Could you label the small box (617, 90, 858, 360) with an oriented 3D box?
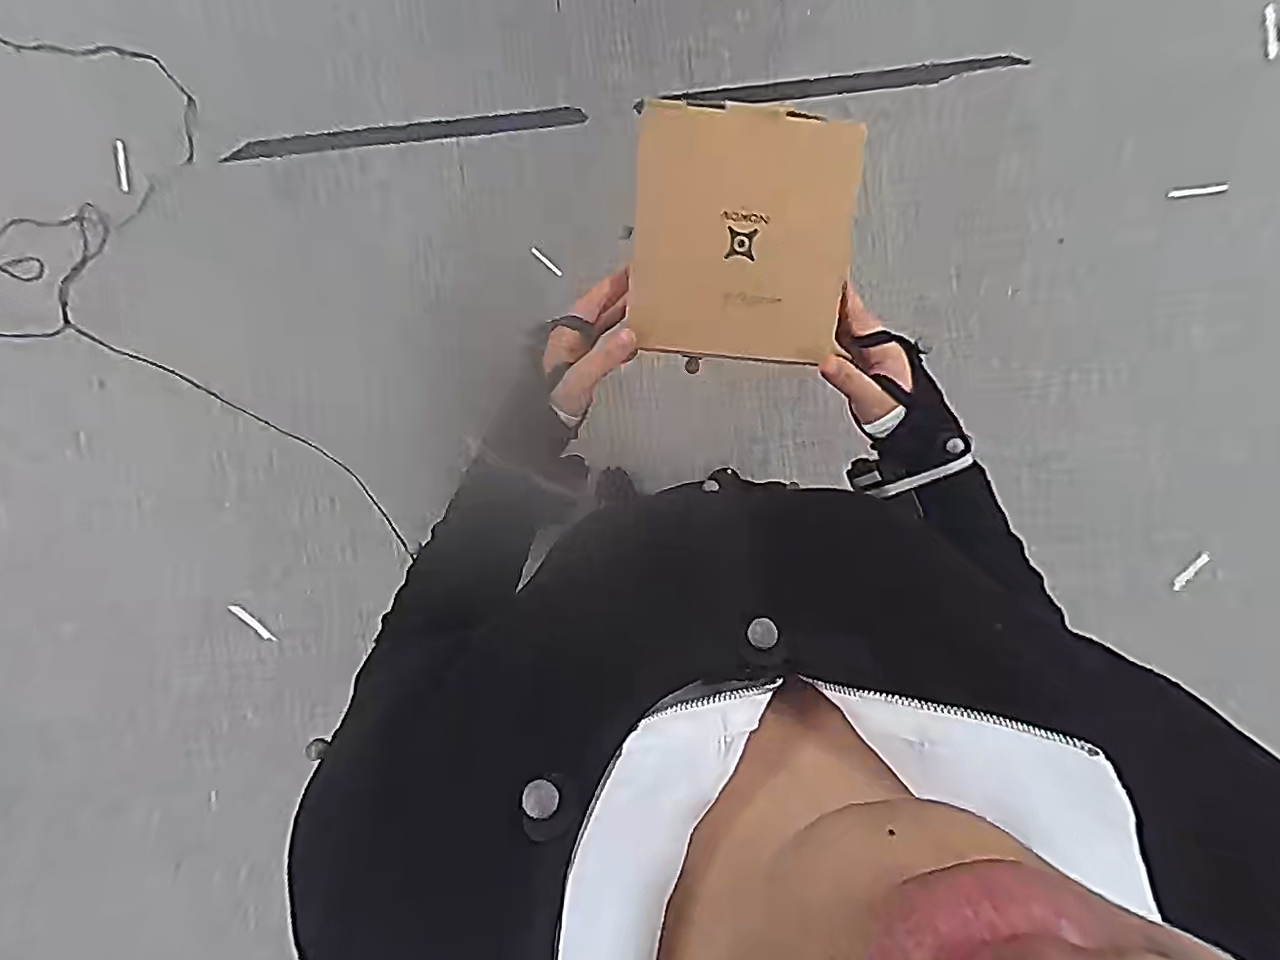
[{"bbox_3d":[0.068,-0.204,0.483,0.168,0.176,0.179,5,103,-2],"label":"small box"}]
